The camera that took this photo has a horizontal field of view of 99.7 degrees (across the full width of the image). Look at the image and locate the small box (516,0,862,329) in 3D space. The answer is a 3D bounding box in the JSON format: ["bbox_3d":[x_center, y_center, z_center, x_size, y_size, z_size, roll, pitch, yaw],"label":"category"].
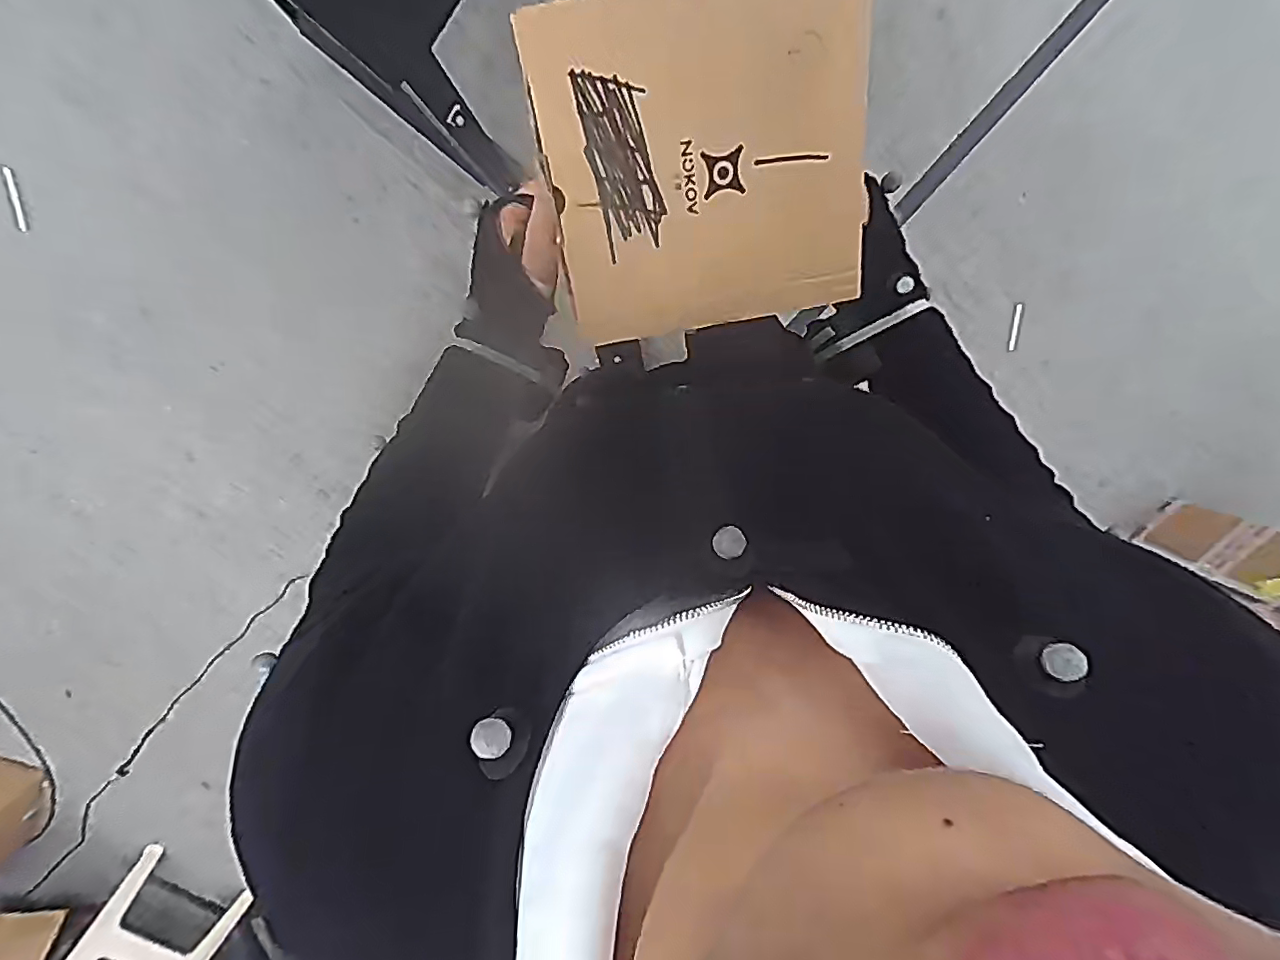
[{"bbox_3d":[0.030,-0.214,0.372,0.179,0.176,0.168,-10,119,1],"label":"small box"}]
